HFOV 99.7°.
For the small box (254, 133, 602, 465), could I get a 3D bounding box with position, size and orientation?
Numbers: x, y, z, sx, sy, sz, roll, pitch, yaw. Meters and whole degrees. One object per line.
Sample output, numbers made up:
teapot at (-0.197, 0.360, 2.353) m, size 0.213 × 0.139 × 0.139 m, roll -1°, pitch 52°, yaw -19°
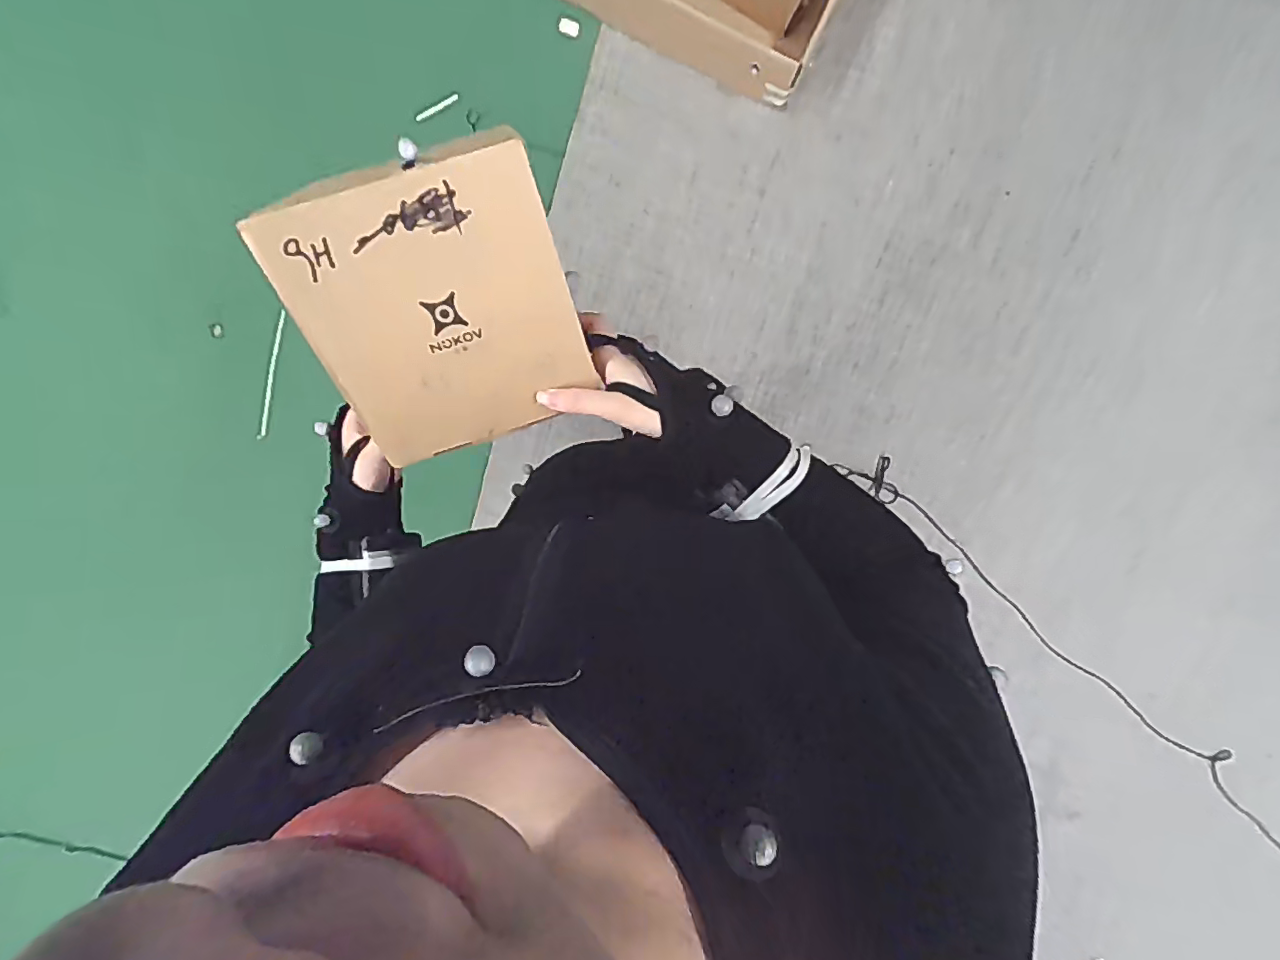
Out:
small box at (-0.140, -0.145, 0.419) m, size 0.168 × 0.176 × 0.179 m, roll -19°, pitch 128°, yaw -4°
